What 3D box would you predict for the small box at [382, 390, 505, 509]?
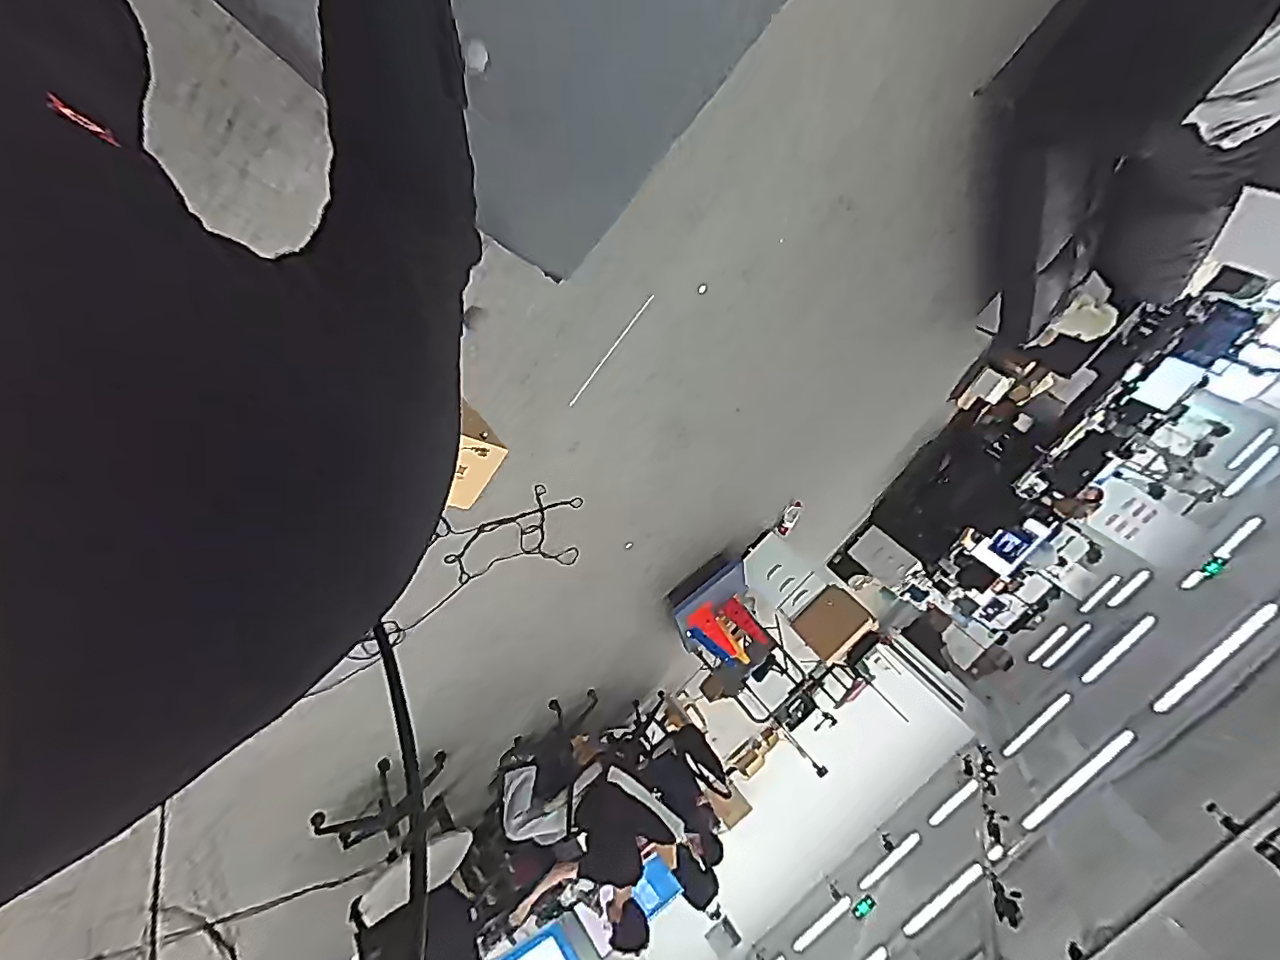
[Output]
[{"bbox_3d":[-0.436,-0.065,1.184,0.179,0.176,0.168,-51,148,12],"label":"small box"}]
